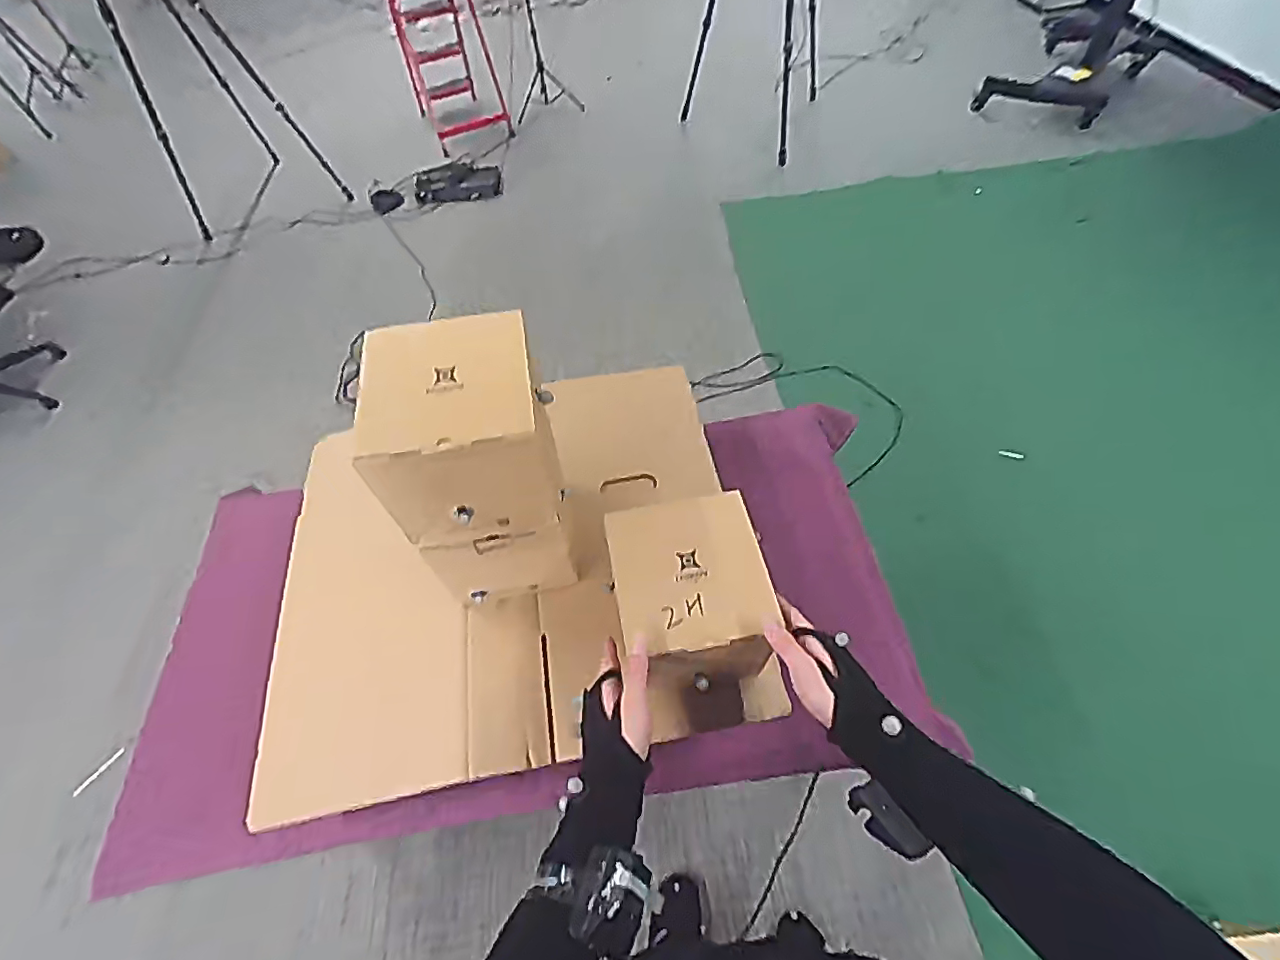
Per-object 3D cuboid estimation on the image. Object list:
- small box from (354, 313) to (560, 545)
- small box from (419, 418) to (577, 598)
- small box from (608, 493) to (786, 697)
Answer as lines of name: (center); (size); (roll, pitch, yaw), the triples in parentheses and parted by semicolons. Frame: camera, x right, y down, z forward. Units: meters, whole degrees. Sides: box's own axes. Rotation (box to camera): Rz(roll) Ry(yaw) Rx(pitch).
small box: (-0.186, -0.053, 0.591); (0.168, 0.176, 0.179); (-10, 57, -6)
small box: (-0.180, 0.045, 0.721); (0.168, 0.176, 0.179); (-9, 56, -5)
small box: (0.056, 0.142, 0.650); (0.168, 0.176, 0.179); (-9, 56, -4)
